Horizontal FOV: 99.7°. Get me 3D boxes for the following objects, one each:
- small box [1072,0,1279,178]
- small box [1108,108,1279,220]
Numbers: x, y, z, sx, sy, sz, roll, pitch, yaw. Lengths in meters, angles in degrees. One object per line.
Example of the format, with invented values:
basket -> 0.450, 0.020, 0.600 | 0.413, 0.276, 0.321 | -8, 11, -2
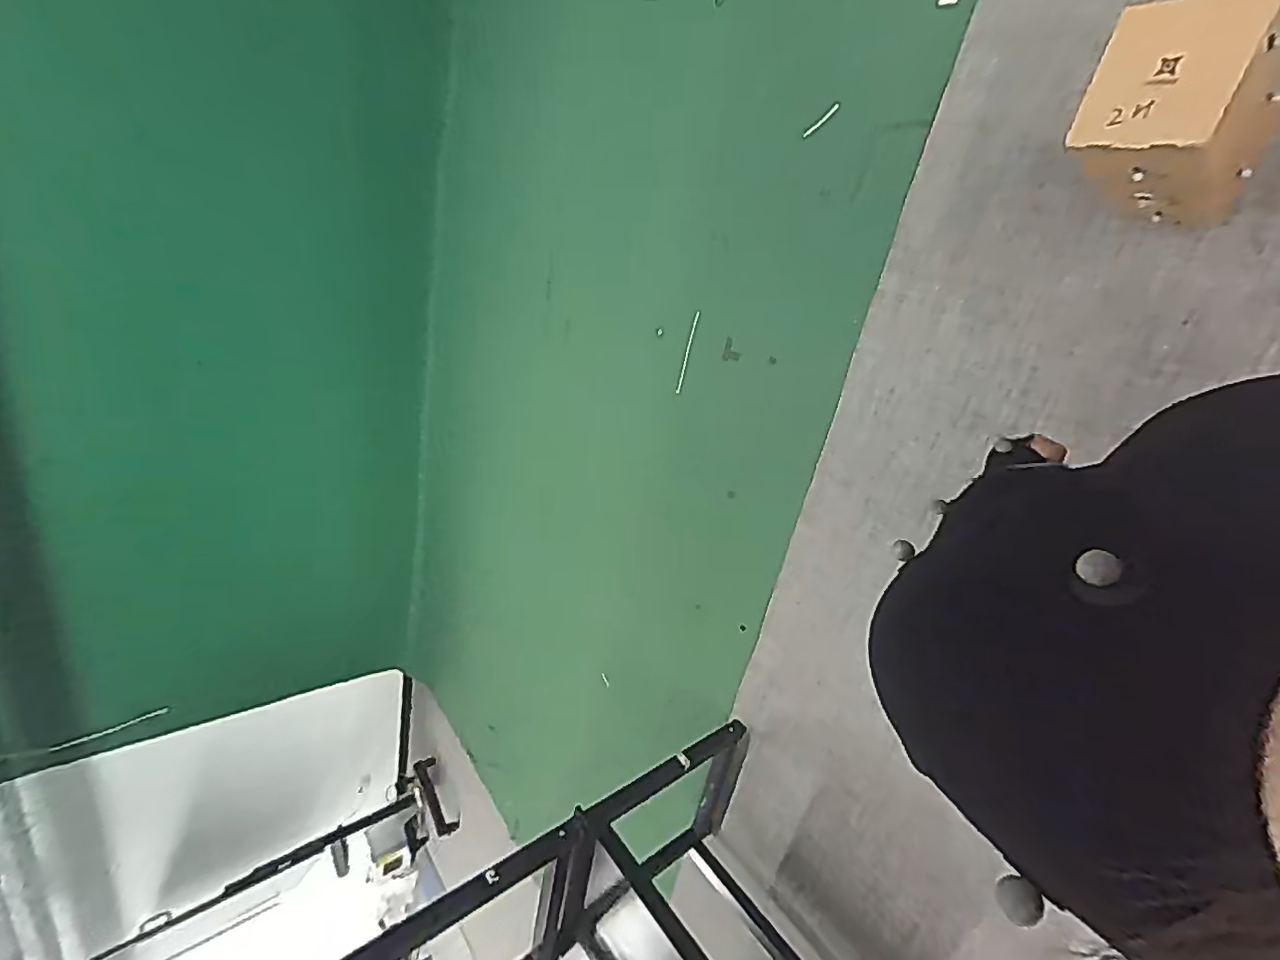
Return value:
small box -> 0.770, -0.556, 0.771 | 0.168, 0.176, 0.179 | 35, 120, 43
small box -> 1.015, -0.590, 0.985 | 0.168, 0.176, 0.179 | 37, 122, 40
